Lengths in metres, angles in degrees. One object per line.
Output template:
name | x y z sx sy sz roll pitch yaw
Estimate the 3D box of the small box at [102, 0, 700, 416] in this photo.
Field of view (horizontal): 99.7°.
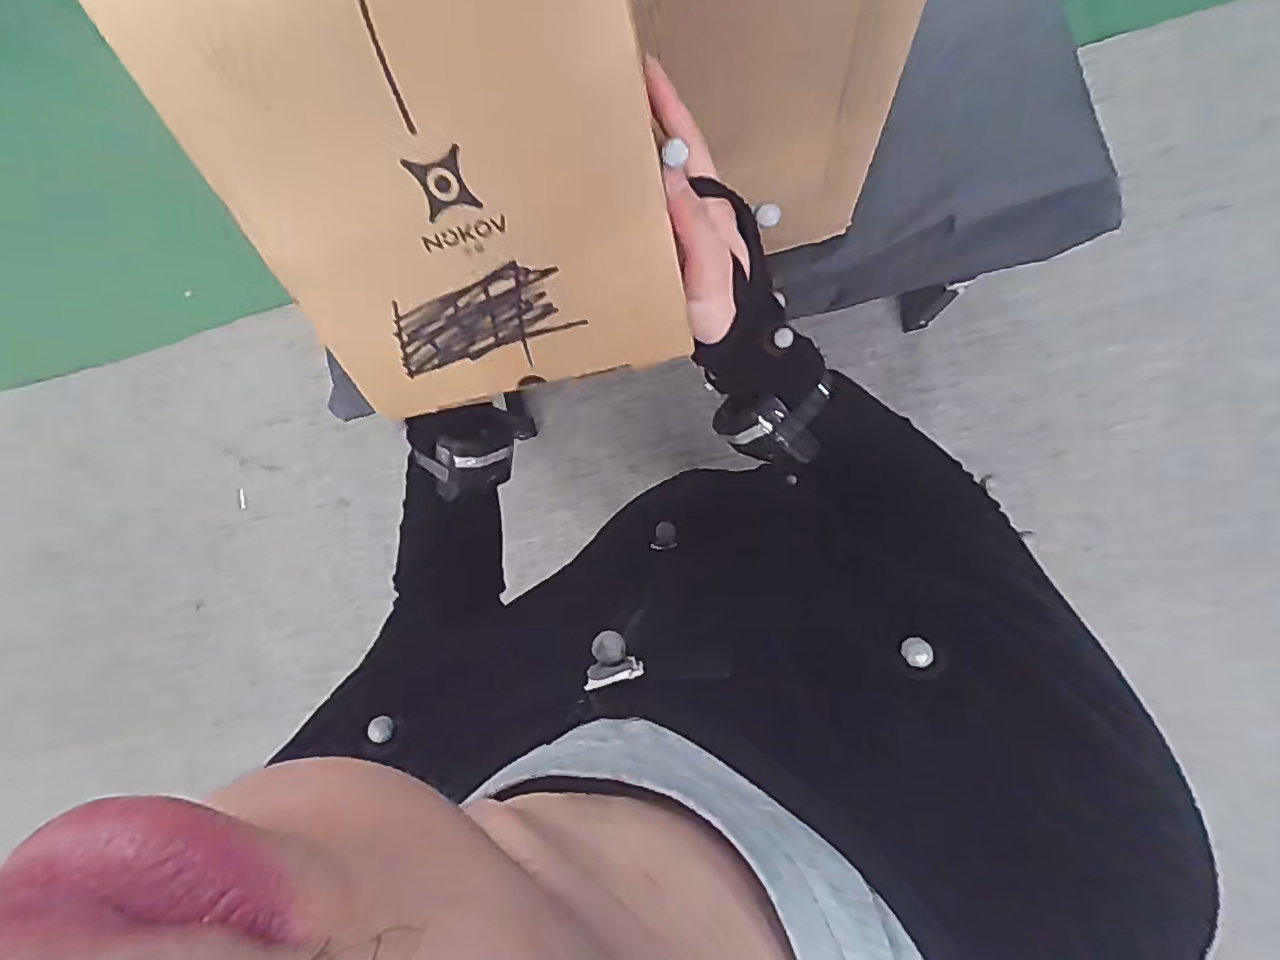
small box | -0.070 -0.162 0.268 0.168 0.179 0.176 -12 42 8
